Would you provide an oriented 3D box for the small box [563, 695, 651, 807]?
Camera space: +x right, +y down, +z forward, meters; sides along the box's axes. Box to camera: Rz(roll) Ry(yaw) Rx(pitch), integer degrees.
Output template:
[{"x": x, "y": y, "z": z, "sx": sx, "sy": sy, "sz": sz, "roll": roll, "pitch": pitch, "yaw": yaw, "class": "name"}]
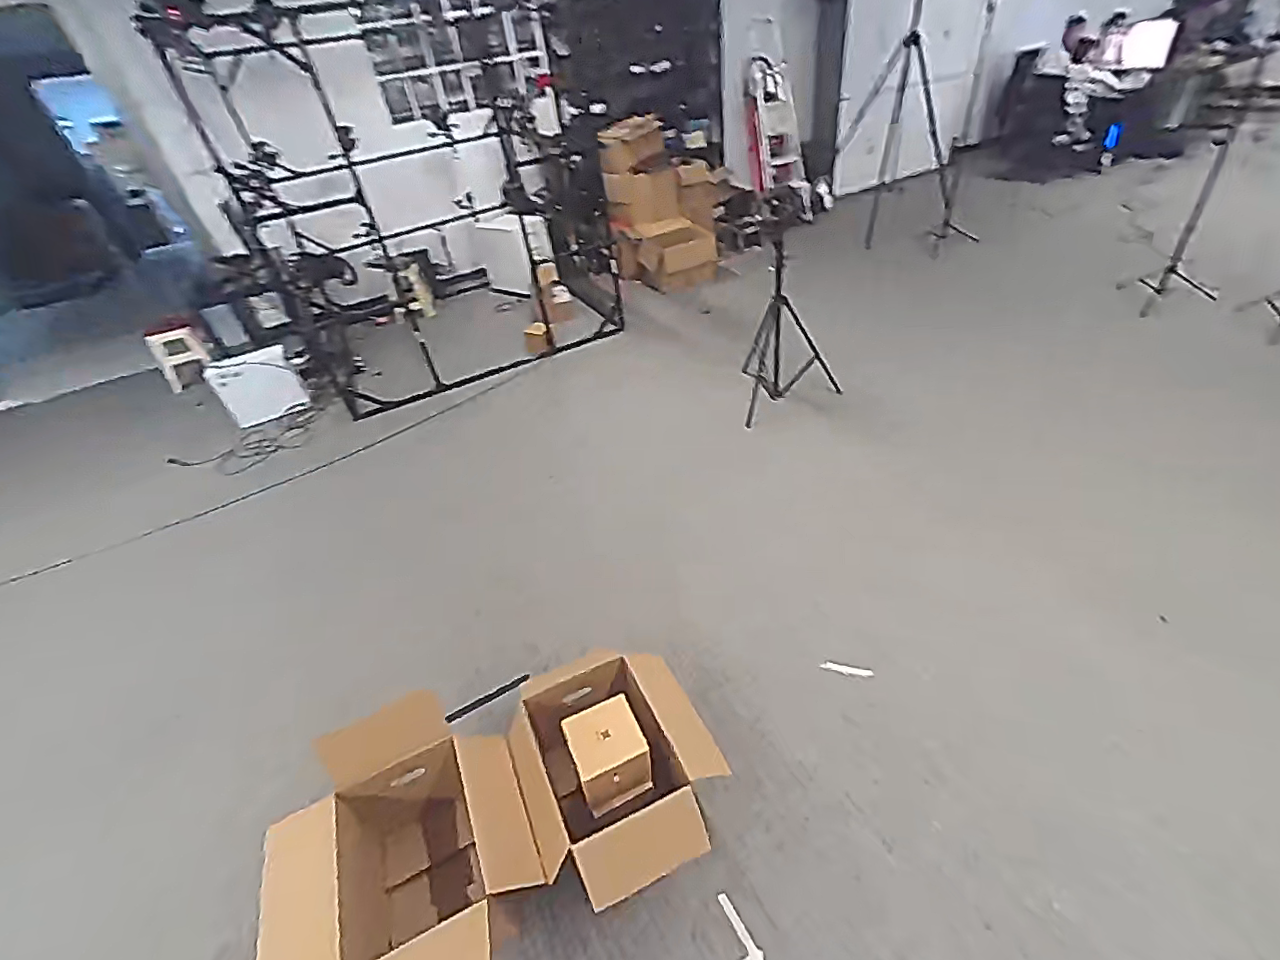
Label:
[{"x": -0.081, "y": 0.696, "z": 1.388, "sx": 0.179, "sy": 0.176, "sz": 0.168, "roll": -19, "pitch": 41, "yaw": -16, "class": "small box"}]
